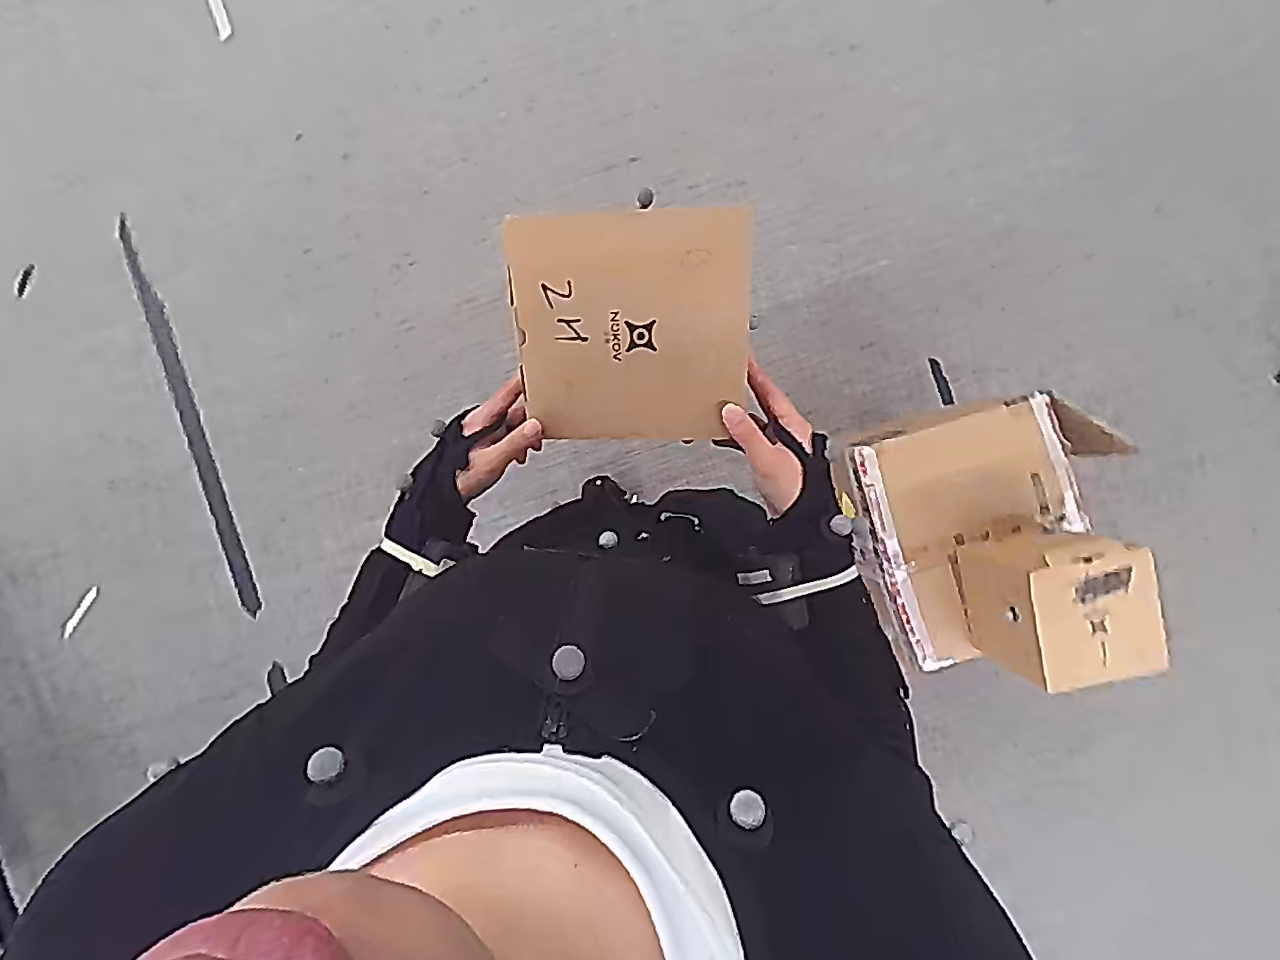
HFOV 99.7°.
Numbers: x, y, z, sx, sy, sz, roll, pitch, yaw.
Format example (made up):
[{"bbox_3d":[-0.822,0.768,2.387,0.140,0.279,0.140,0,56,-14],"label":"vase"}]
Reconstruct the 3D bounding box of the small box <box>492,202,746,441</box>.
[{"bbox_3d":[-0.007,-0.139,0.465,0.179,0.176,0.168,4,111,8],"label":"small box"}]

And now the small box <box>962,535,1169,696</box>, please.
[{"bbox_3d":[0.606,0.184,0.795,0.168,0.176,0.179,-12,94,2],"label":"small box"}]
